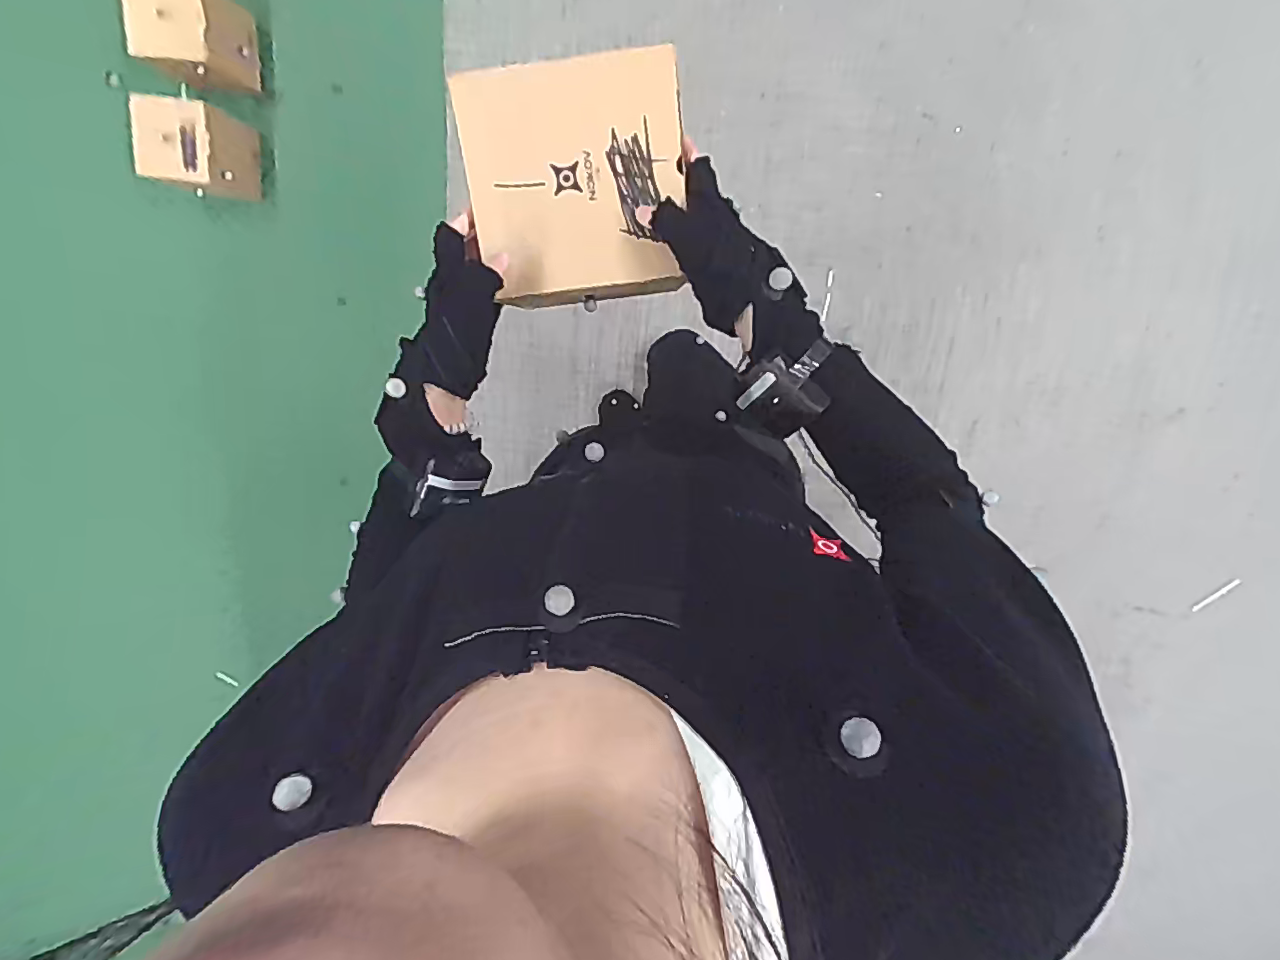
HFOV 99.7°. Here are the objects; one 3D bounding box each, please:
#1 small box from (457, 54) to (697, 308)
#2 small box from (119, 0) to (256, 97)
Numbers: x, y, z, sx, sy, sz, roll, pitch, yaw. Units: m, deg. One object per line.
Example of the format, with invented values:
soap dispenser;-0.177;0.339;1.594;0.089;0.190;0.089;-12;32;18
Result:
small box;-0.048;-0.258;0.507;0.179;0.176;0.168;-6;105;1
small box;-1.022;-1.006;1.232;0.179;0.176;0.168;5;103;0
